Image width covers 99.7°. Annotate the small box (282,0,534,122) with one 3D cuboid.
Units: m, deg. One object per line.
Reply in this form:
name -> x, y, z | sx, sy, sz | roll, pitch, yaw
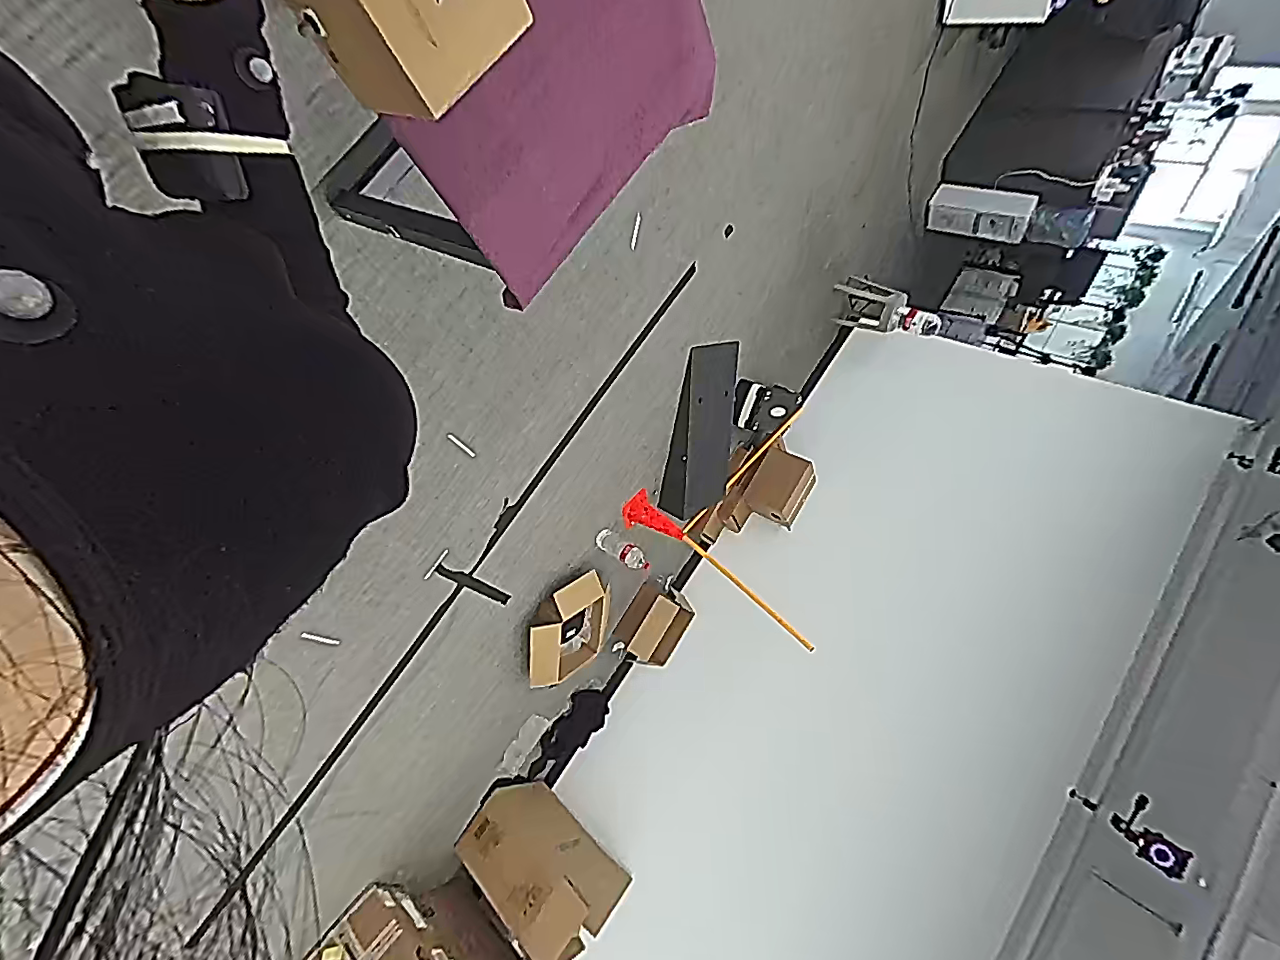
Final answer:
small box -> -0.255, -0.523, 0.575 | 0.179, 0.176, 0.168 | -54, 147, -11
